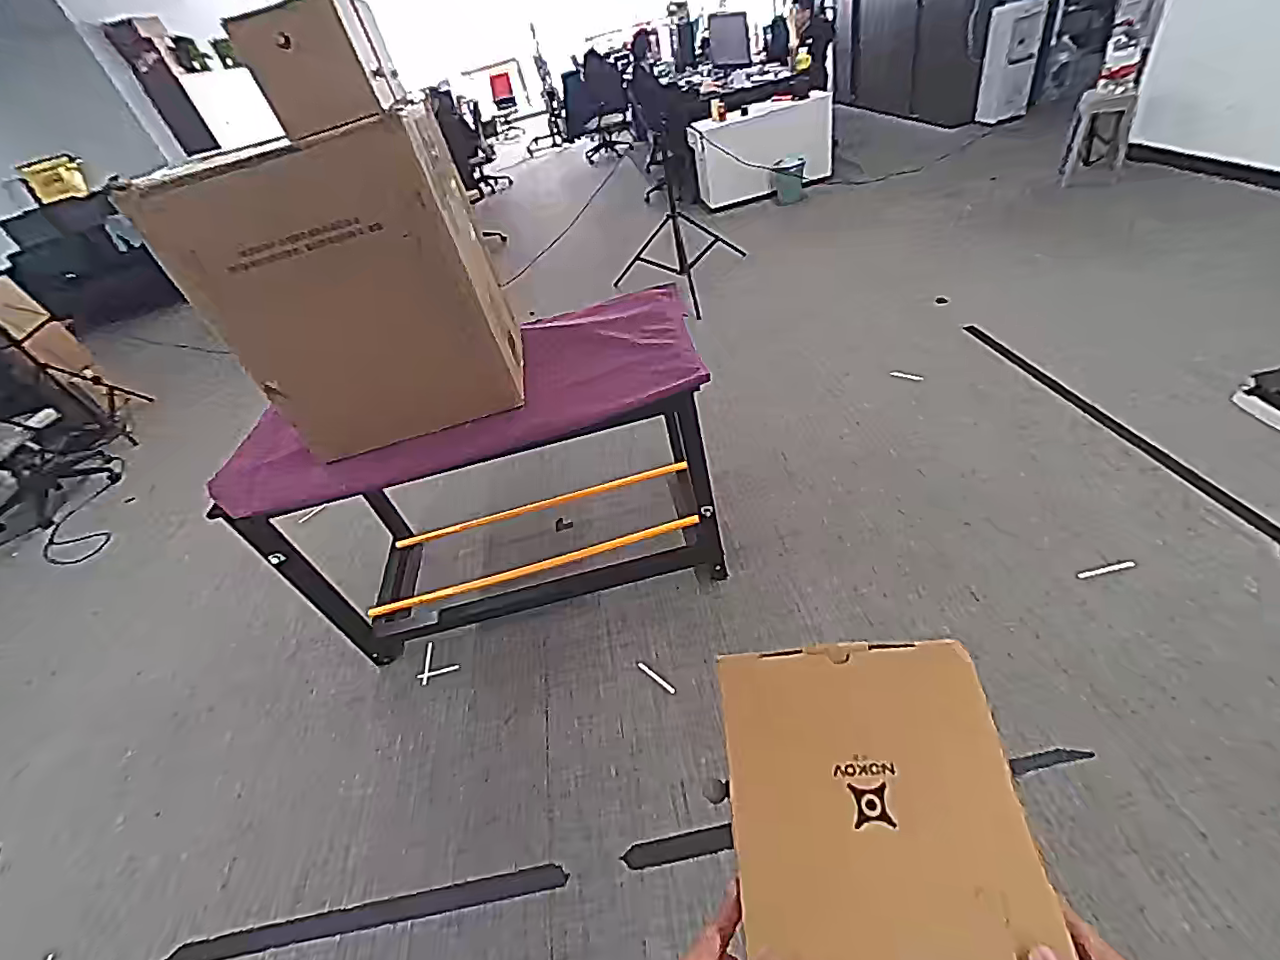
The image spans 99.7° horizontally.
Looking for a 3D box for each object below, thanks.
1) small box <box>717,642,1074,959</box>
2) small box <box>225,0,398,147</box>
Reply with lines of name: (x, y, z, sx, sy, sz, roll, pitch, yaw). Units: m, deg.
small box: (0.150, 0.232, 0.387, 0.168, 0.176, 0.179, -7, 55, 7)
small box: (-0.559, -0.707, 0.948, 0.179, 0.176, 0.168, -19, 41, -1)
